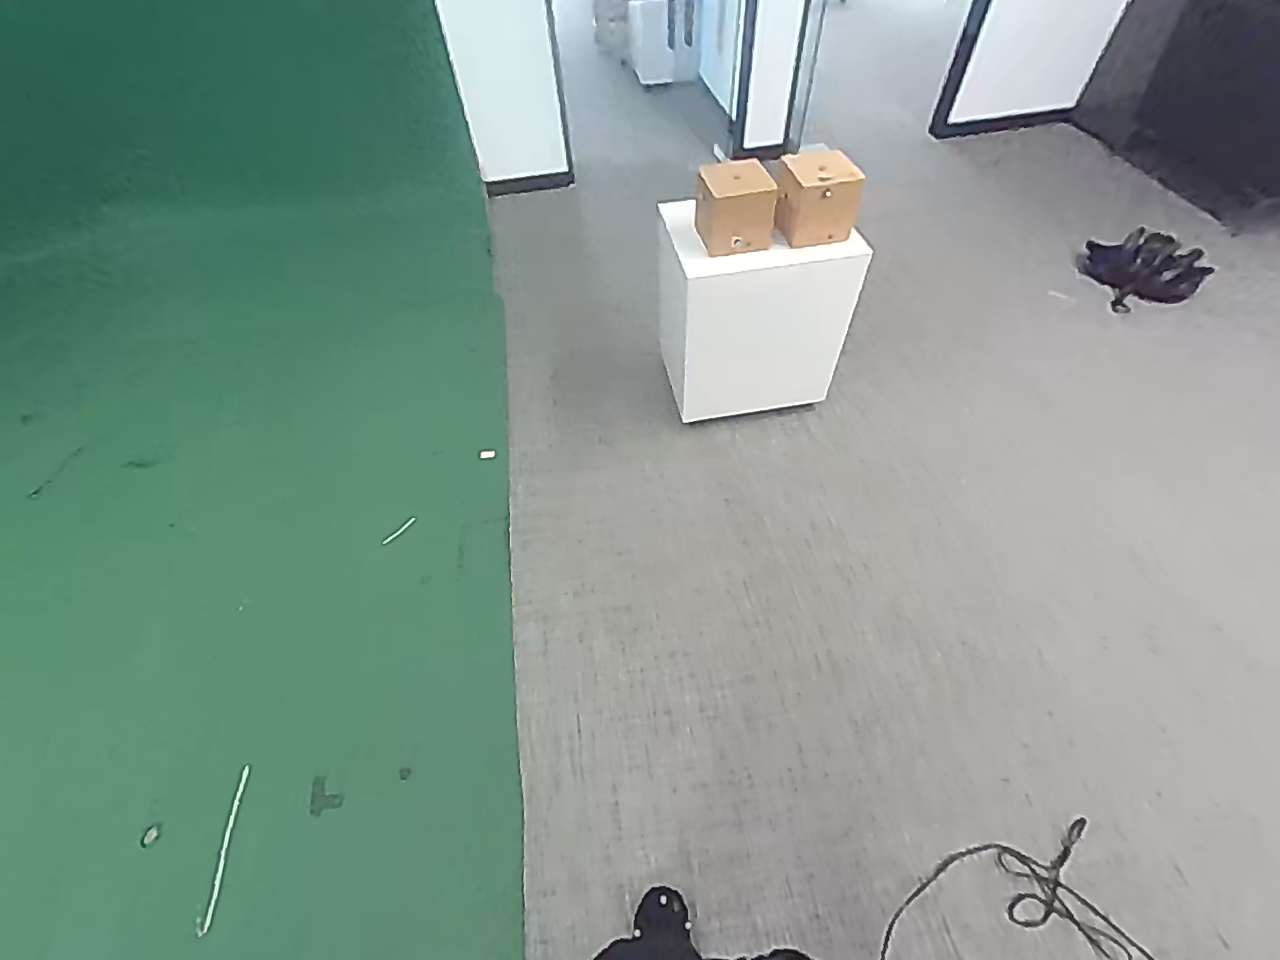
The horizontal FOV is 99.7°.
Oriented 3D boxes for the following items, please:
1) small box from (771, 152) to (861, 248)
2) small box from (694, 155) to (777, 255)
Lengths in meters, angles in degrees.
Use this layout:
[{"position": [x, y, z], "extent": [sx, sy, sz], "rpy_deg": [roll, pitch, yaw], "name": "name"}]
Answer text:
[{"position": [0.462, -0.752, 1.455], "extent": [0.168, 0.176, 0.179], "rpy_deg": [-10, 53, -4], "name": "small box"}, {"position": [0.244, -0.730, 1.437], "extent": [0.168, 0.176, 0.179], "rpy_deg": [-12, 56, -5], "name": "small box"}]
